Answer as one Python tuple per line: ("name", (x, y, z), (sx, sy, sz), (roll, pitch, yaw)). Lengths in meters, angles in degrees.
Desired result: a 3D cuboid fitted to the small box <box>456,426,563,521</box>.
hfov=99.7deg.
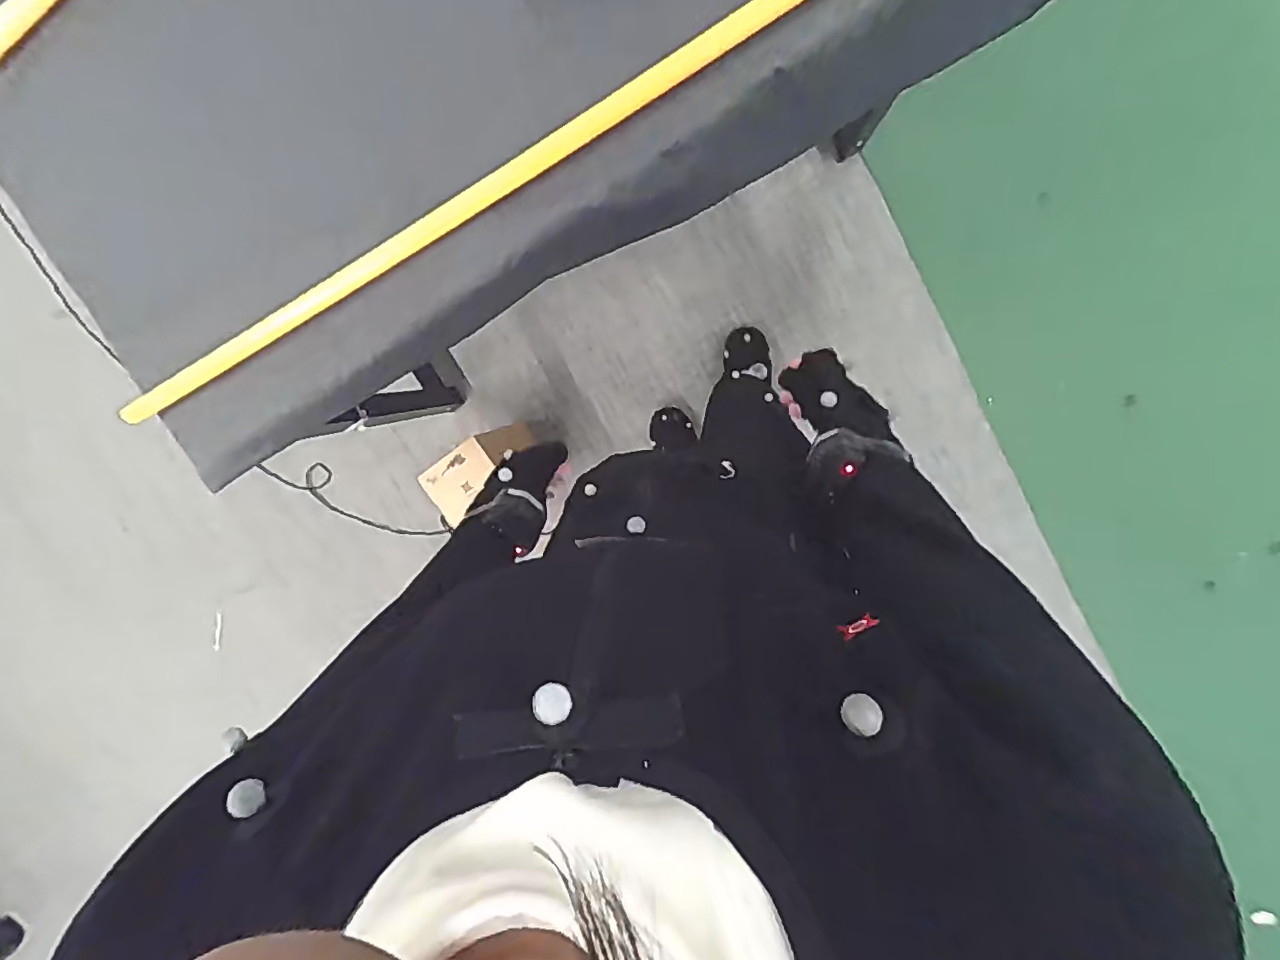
("small box", (-0.326, -0.026, 1.382), (0.168, 0.176, 0.179), (-36, 95, 13))
